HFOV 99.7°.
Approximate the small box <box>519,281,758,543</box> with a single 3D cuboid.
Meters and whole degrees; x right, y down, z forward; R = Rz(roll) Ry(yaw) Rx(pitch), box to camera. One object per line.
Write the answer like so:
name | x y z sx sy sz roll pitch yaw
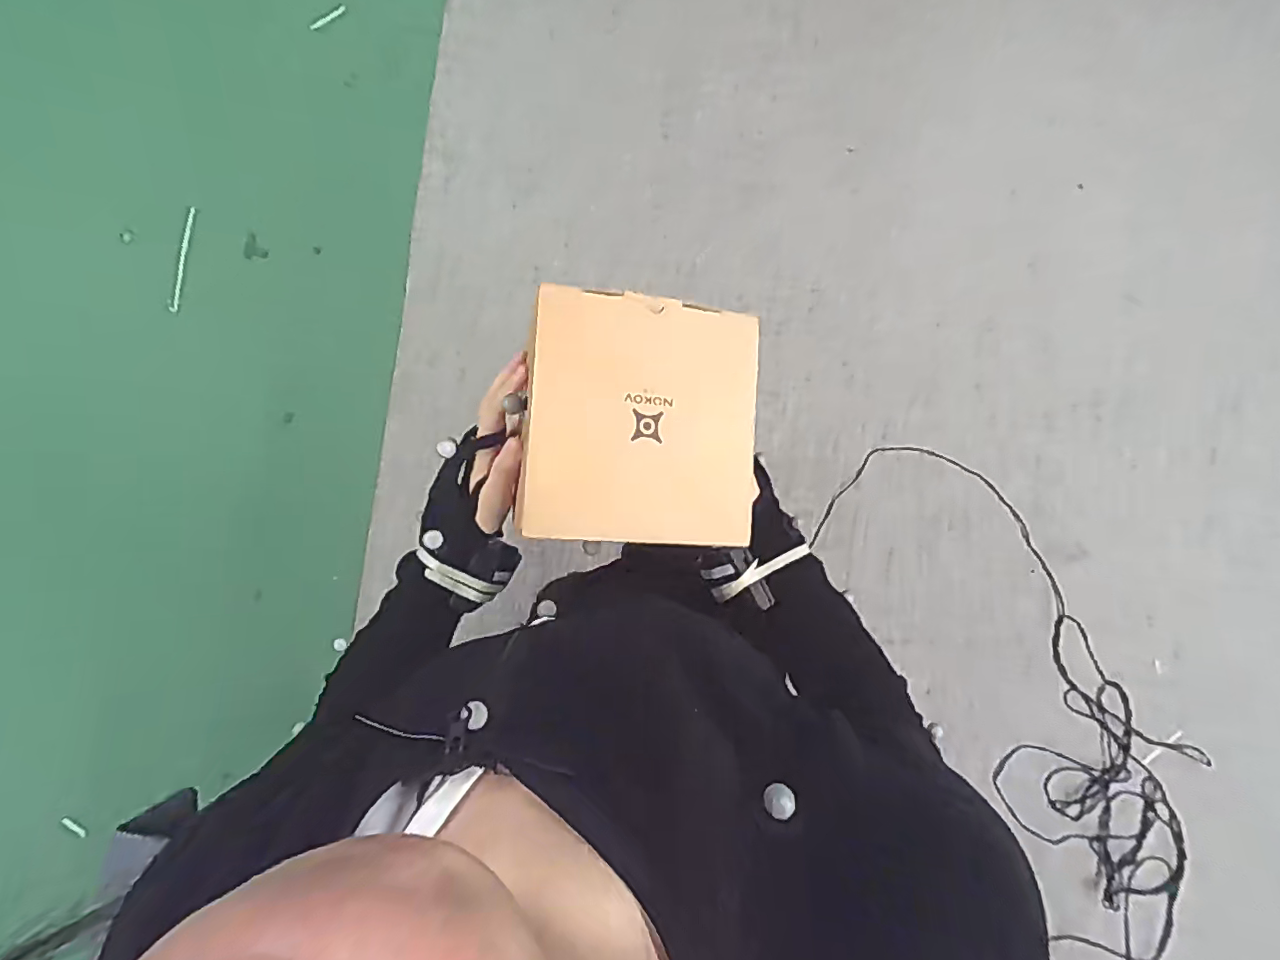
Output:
small box | -0.014 -0.043 0.464 0.168 0.176 0.179 4 87 -14
